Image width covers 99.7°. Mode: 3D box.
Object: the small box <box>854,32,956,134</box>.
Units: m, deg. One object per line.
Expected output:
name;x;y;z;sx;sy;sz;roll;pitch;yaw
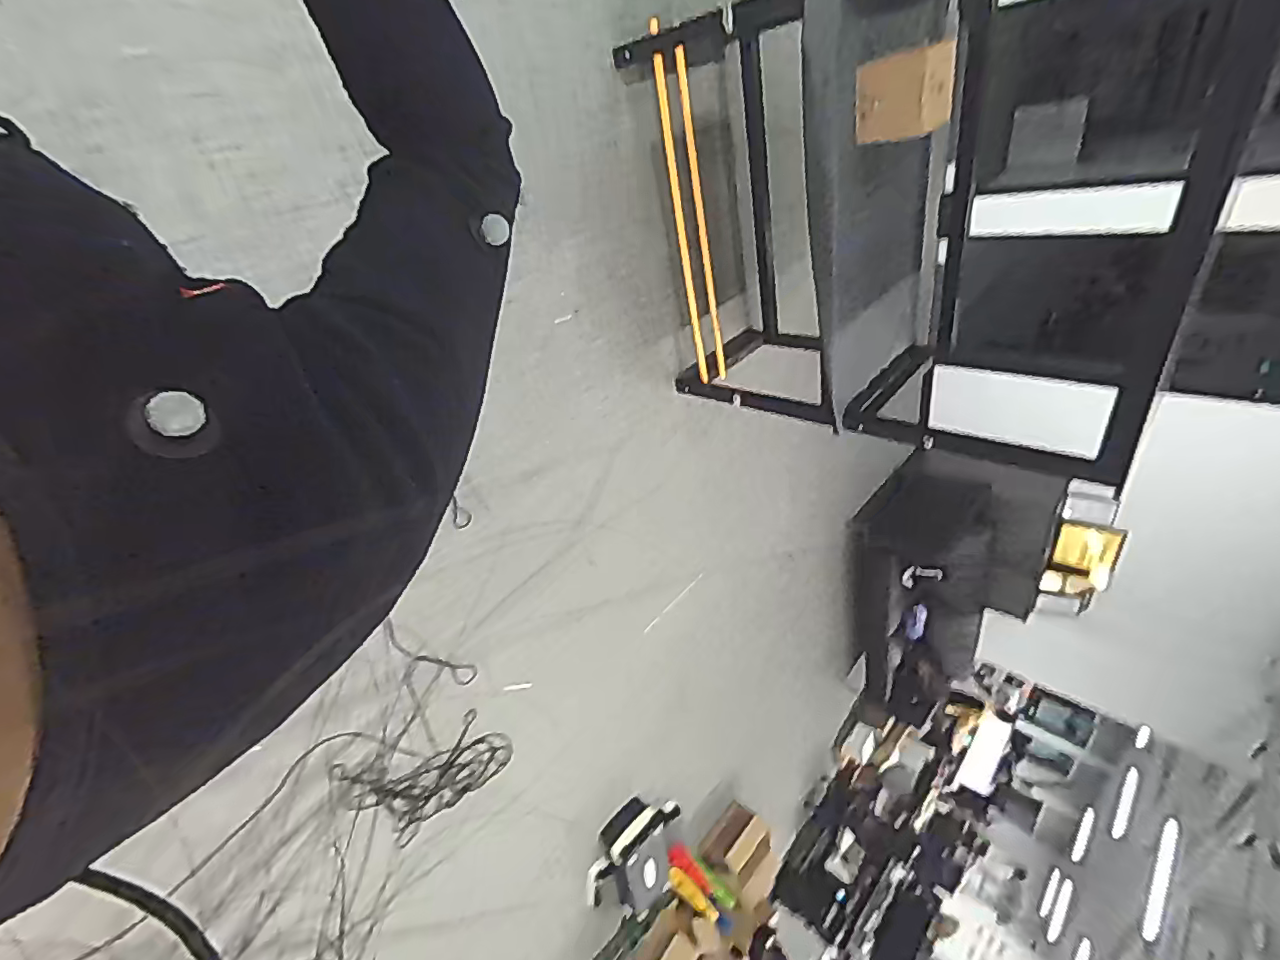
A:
small box;0.649;-0.975;1.335;0.179;0.176;0.168;-40;132;-29
